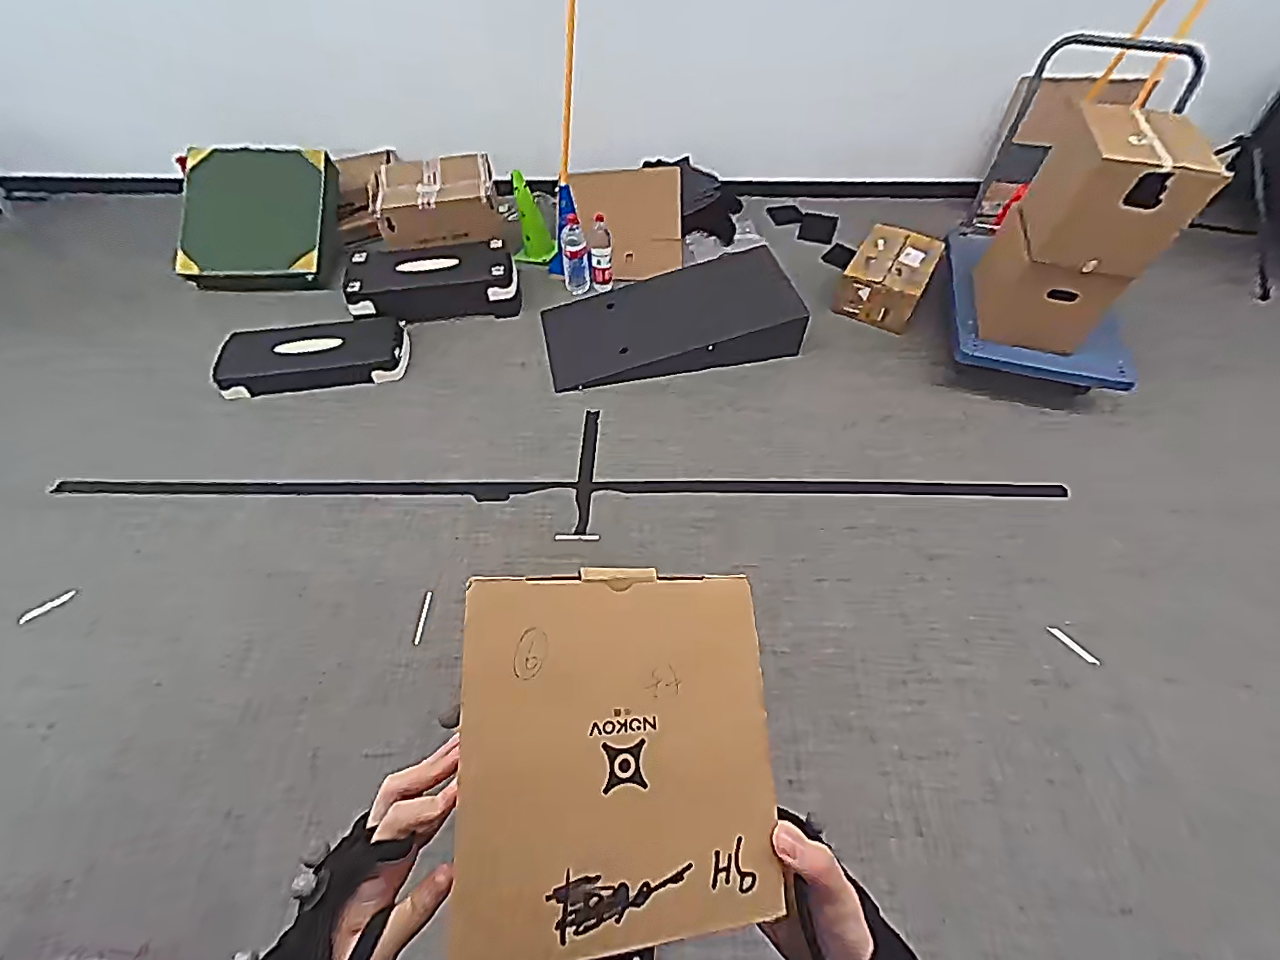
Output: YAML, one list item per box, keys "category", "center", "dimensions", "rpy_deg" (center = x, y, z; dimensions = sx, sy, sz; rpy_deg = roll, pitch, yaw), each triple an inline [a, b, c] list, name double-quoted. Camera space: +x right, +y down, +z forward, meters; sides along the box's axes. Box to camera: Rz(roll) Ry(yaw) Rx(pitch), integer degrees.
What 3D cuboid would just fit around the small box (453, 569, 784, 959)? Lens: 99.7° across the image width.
- category: "small box"
  center: [-0.030, 0.160, 0.354]
  dimensions: [0.168, 0.176, 0.179]
  rpy_deg: [3, 71, -17]
